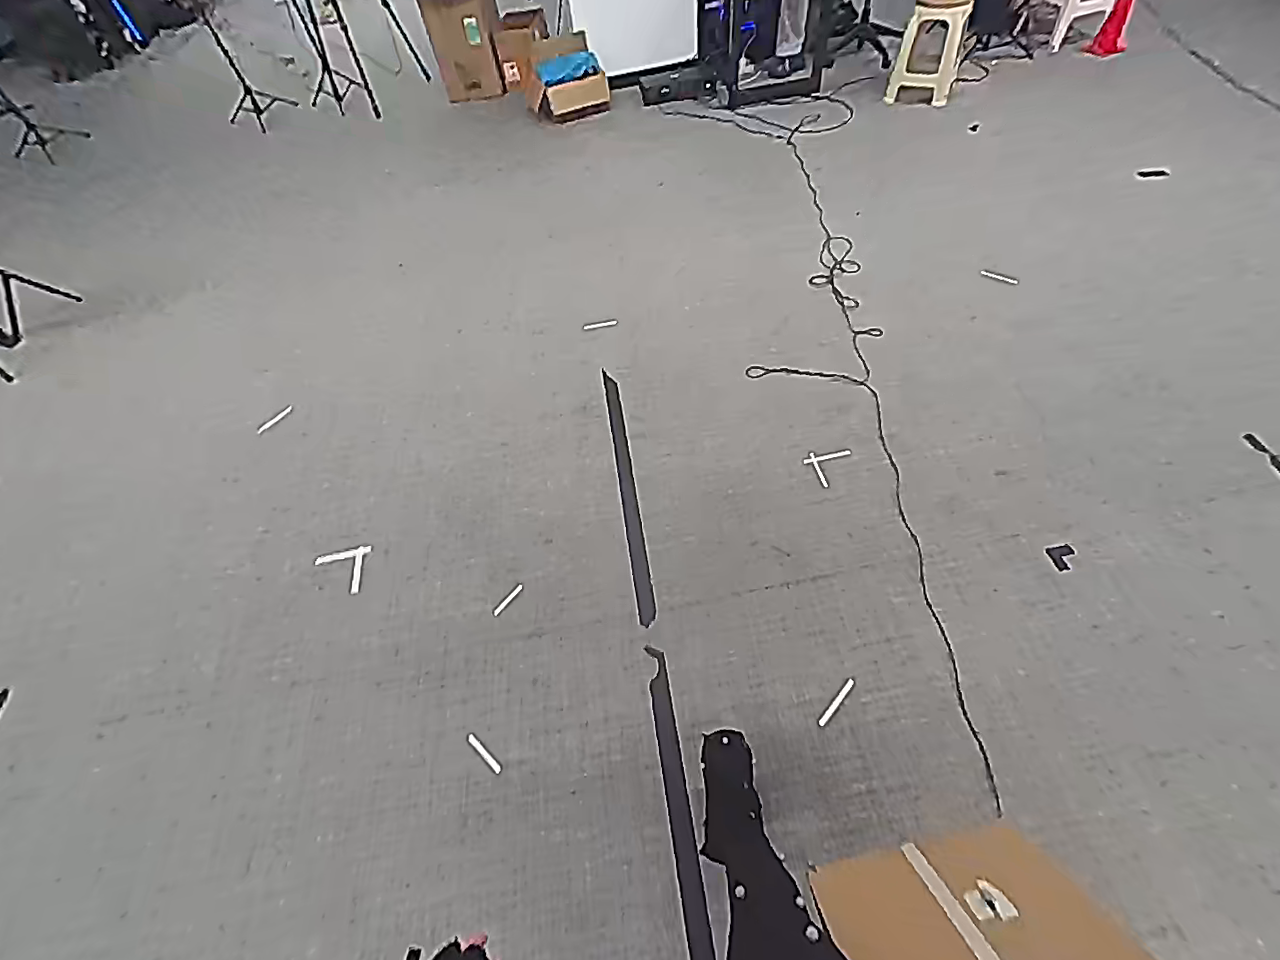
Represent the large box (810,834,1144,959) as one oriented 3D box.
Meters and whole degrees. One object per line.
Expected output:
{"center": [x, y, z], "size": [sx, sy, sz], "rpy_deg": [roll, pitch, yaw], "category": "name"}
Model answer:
{"center": [0.439, 0.706, 0.614], "size": [0.320, 0.408, 0.320], "rpy_deg": [-14, 86, 1], "category": "large box"}
